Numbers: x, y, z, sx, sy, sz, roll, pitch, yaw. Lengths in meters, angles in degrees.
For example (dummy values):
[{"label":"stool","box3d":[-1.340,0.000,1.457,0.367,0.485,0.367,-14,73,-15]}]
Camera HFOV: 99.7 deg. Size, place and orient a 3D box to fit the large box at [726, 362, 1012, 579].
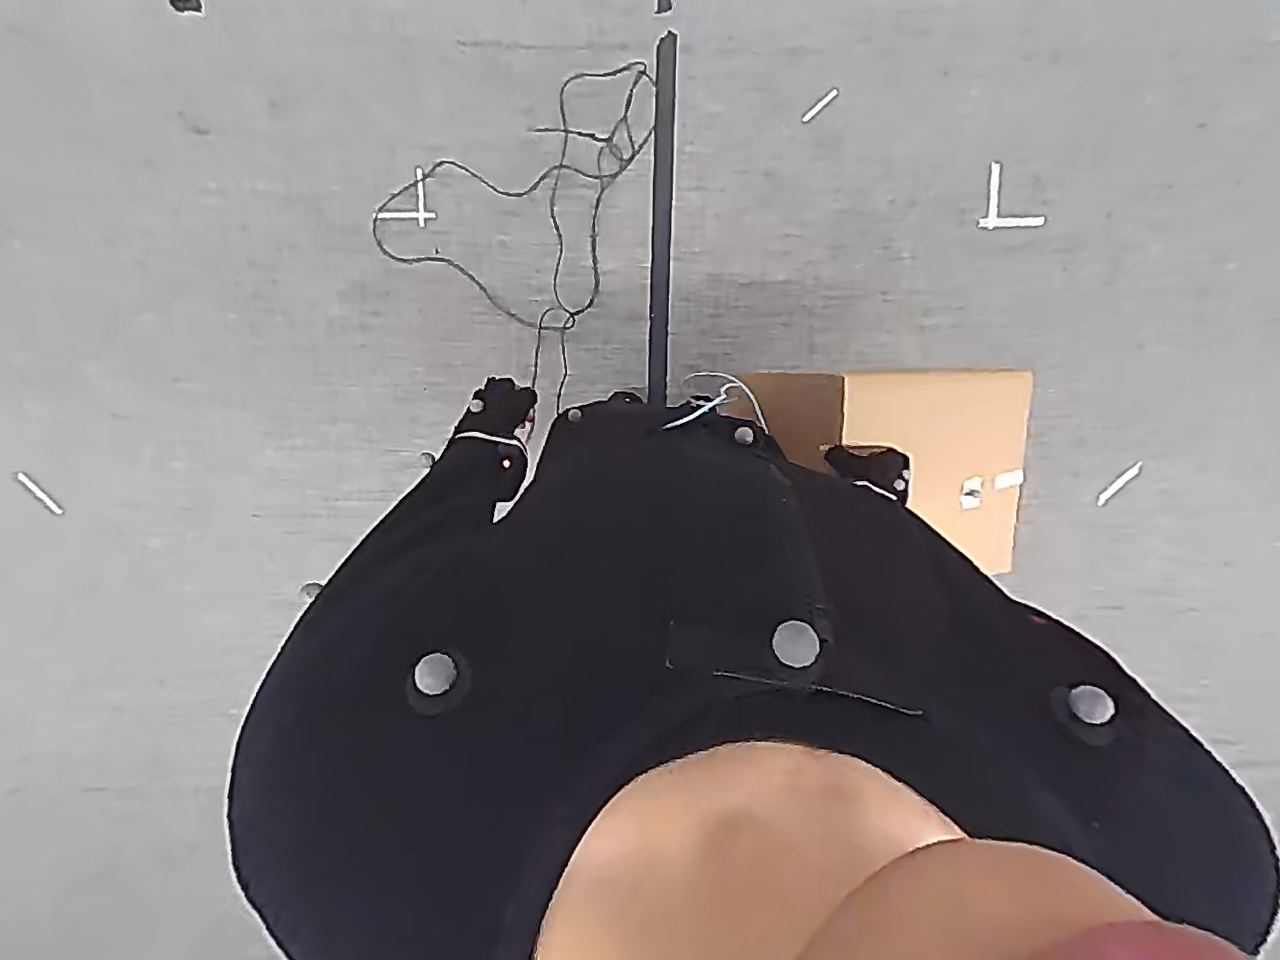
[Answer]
[{"label":"large box","box3d":[0.376,-0.047,0.984,0.320,0.408,0.320,-4,102,-11]}]
